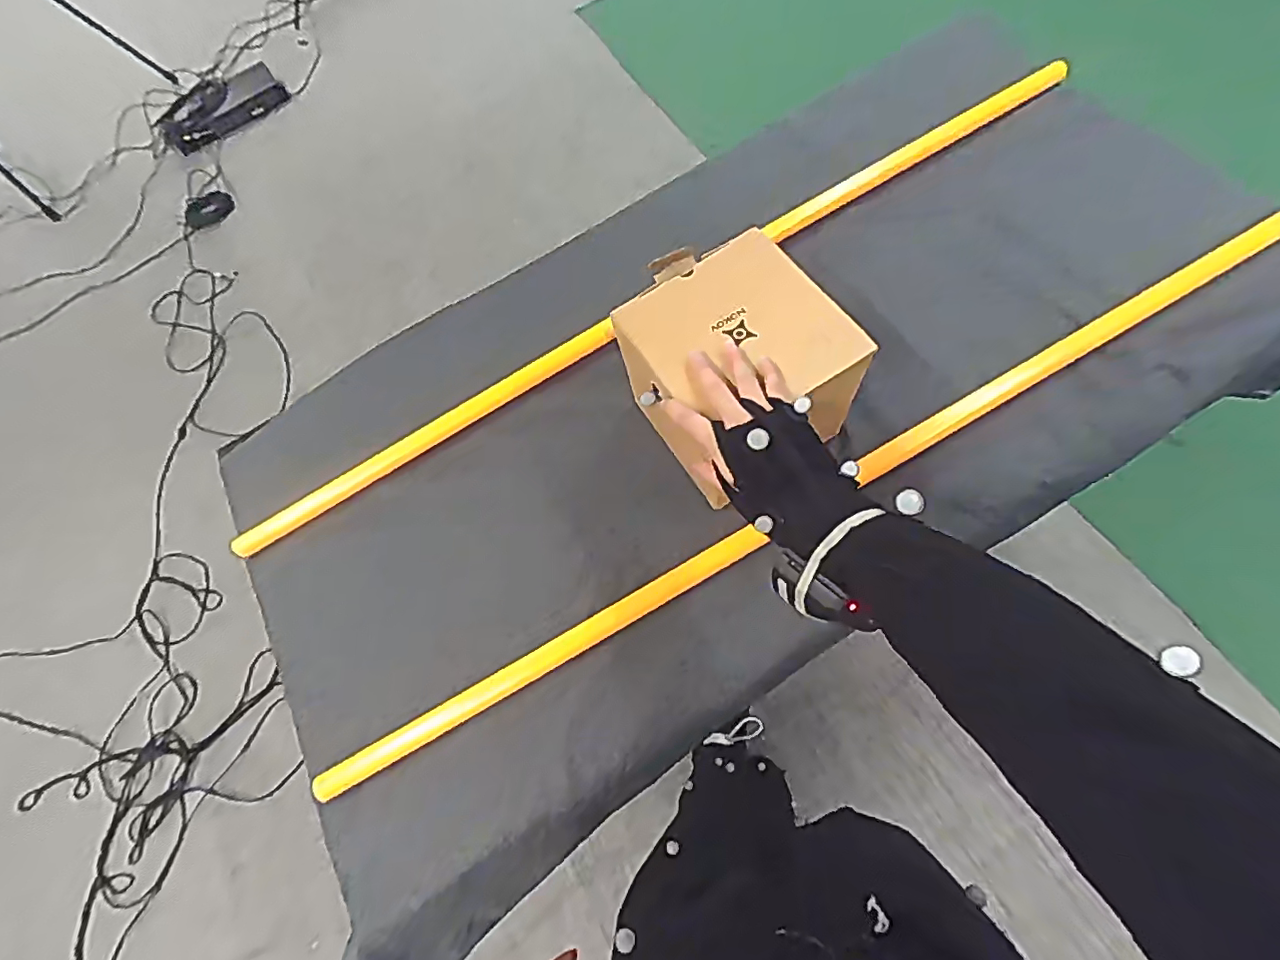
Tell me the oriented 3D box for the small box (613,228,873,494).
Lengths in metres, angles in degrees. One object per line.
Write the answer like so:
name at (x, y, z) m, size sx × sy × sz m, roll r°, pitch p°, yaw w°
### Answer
small box at (0.098, -0.104, 0.551) m, size 0.168 × 0.176 × 0.179 m, roll -32°, pitch 67°, yaw -4°
